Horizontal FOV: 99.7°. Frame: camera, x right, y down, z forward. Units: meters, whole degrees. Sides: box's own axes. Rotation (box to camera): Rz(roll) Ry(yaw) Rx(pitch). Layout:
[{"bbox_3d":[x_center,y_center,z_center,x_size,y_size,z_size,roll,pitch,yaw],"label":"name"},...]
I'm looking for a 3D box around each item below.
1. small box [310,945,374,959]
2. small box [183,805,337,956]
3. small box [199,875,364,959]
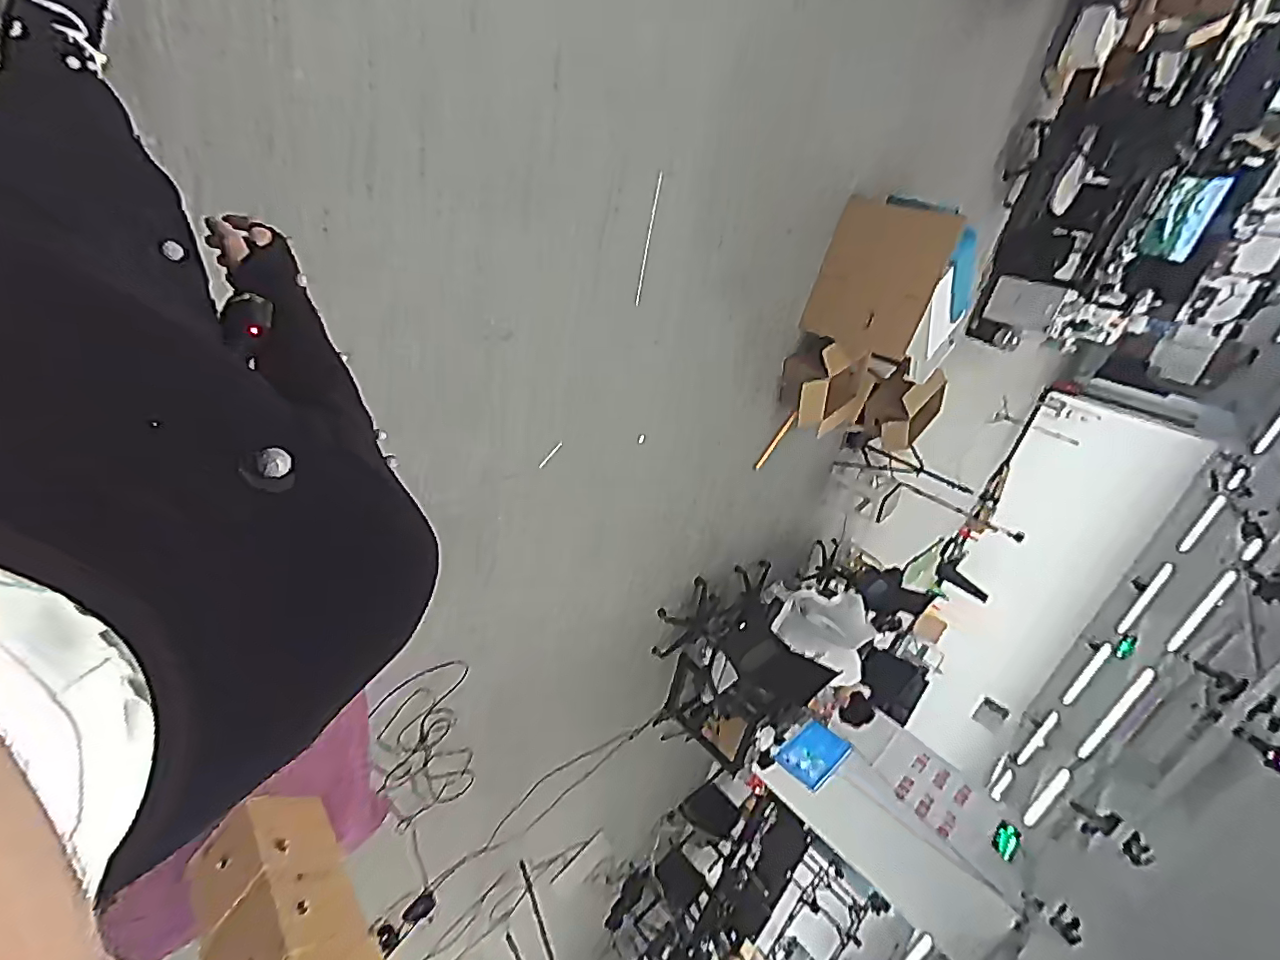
[{"bbox_3d":[-0.538,0.924,0.887,0.168,0.176,0.179,-53,143,-7],"label":"small box"},{"bbox_3d":[-0.757,0.779,1.076,0.168,0.176,0.179,-51,143,-8],"label":"small box"},{"bbox_3d":[-0.651,0.854,0.978,0.179,0.176,0.168,-51,142,-8],"label":"small box"}]
